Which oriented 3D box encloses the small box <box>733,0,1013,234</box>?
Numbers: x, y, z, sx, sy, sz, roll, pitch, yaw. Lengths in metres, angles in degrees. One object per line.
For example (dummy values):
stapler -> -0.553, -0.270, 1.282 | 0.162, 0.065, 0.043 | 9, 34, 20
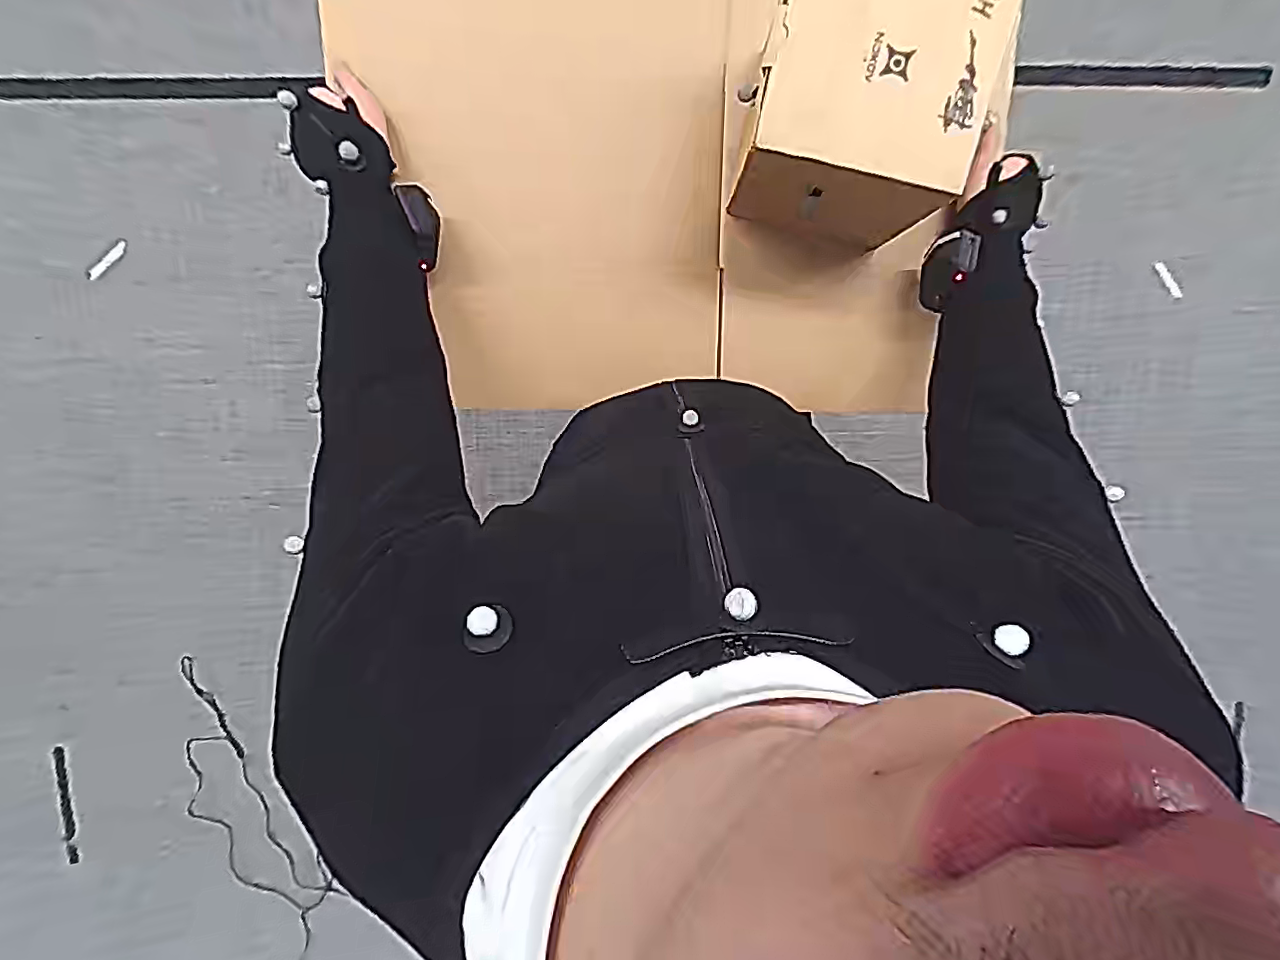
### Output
small box -> 0.194, -0.348, 0.502 | 0.179, 0.176, 0.168 | 13, 100, 0
